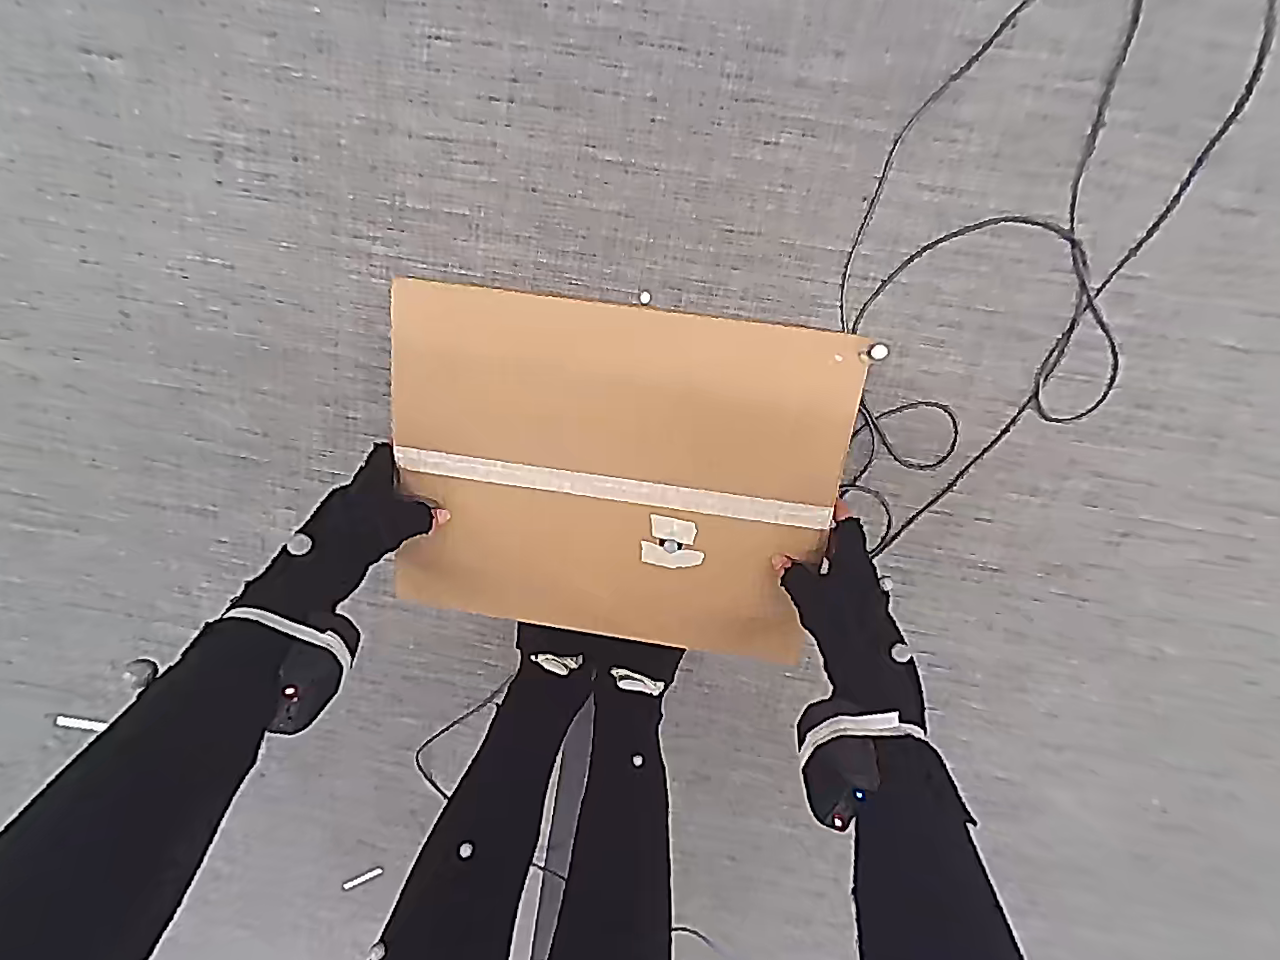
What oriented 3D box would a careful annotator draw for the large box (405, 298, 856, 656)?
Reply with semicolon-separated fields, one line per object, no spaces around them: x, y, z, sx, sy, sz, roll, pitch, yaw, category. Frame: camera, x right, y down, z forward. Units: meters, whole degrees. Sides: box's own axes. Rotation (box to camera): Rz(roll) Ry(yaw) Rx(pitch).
-0.017;-0.032;0.651;0.408;0.320;0.320;8;108;3;large box
